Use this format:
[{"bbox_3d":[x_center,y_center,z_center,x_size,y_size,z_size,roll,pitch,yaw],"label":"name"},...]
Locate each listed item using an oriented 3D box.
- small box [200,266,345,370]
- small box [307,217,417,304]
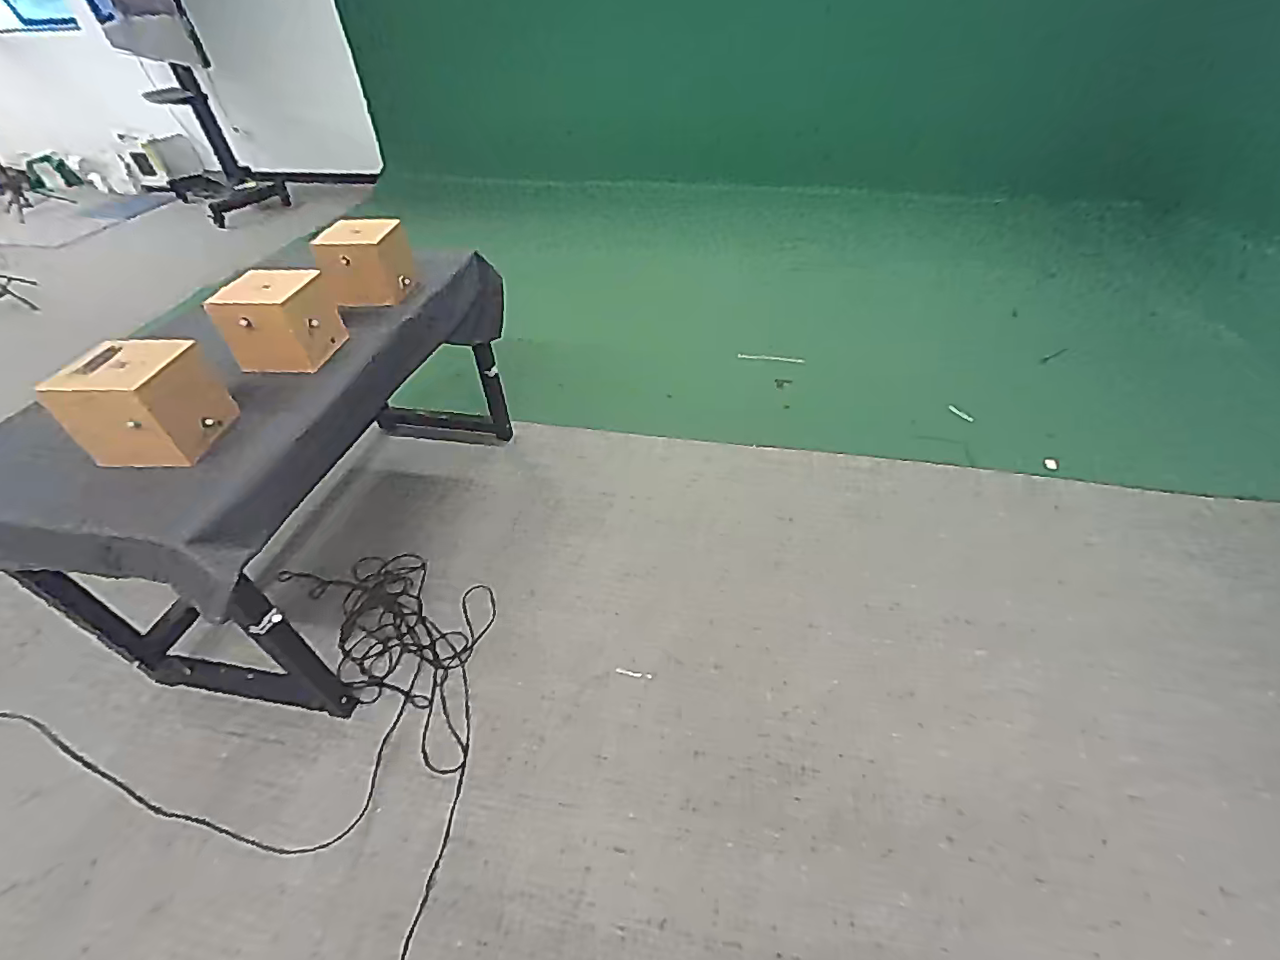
[{"bbox_3d":[-0.801,-0.358,1.204,0.179,0.176,0.168,2,44,5],"label":"small box"},{"bbox_3d":[-0.725,-0.579,1.431,0.179,0.176,0.168,2,45,3],"label":"small box"}]
